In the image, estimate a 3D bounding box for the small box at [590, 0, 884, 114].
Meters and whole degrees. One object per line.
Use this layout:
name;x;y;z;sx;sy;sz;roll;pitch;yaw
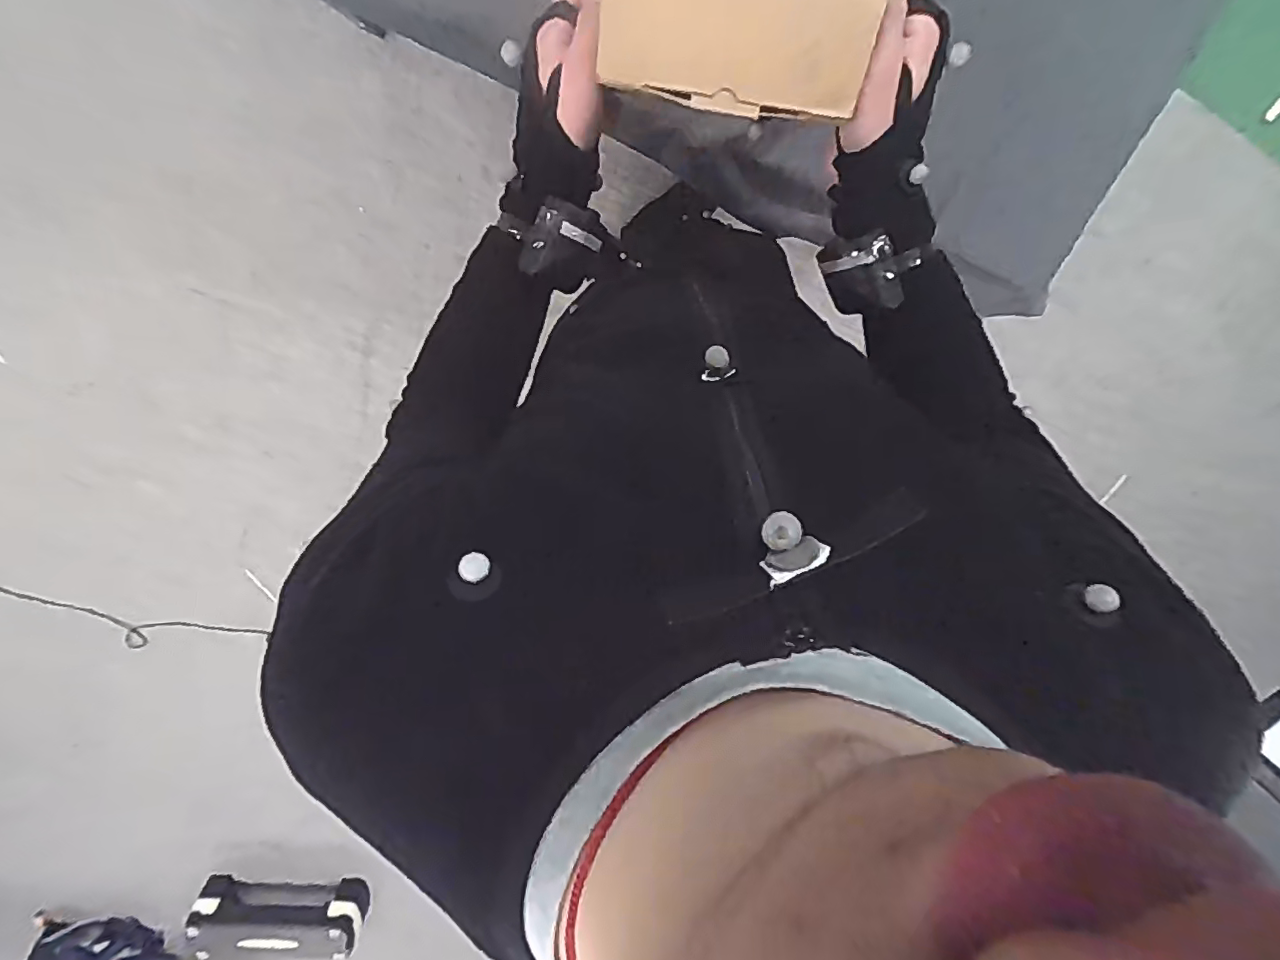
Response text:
small box;0.063;-0.352;0.348;0.168;0.176;0.179;6;122;-5
